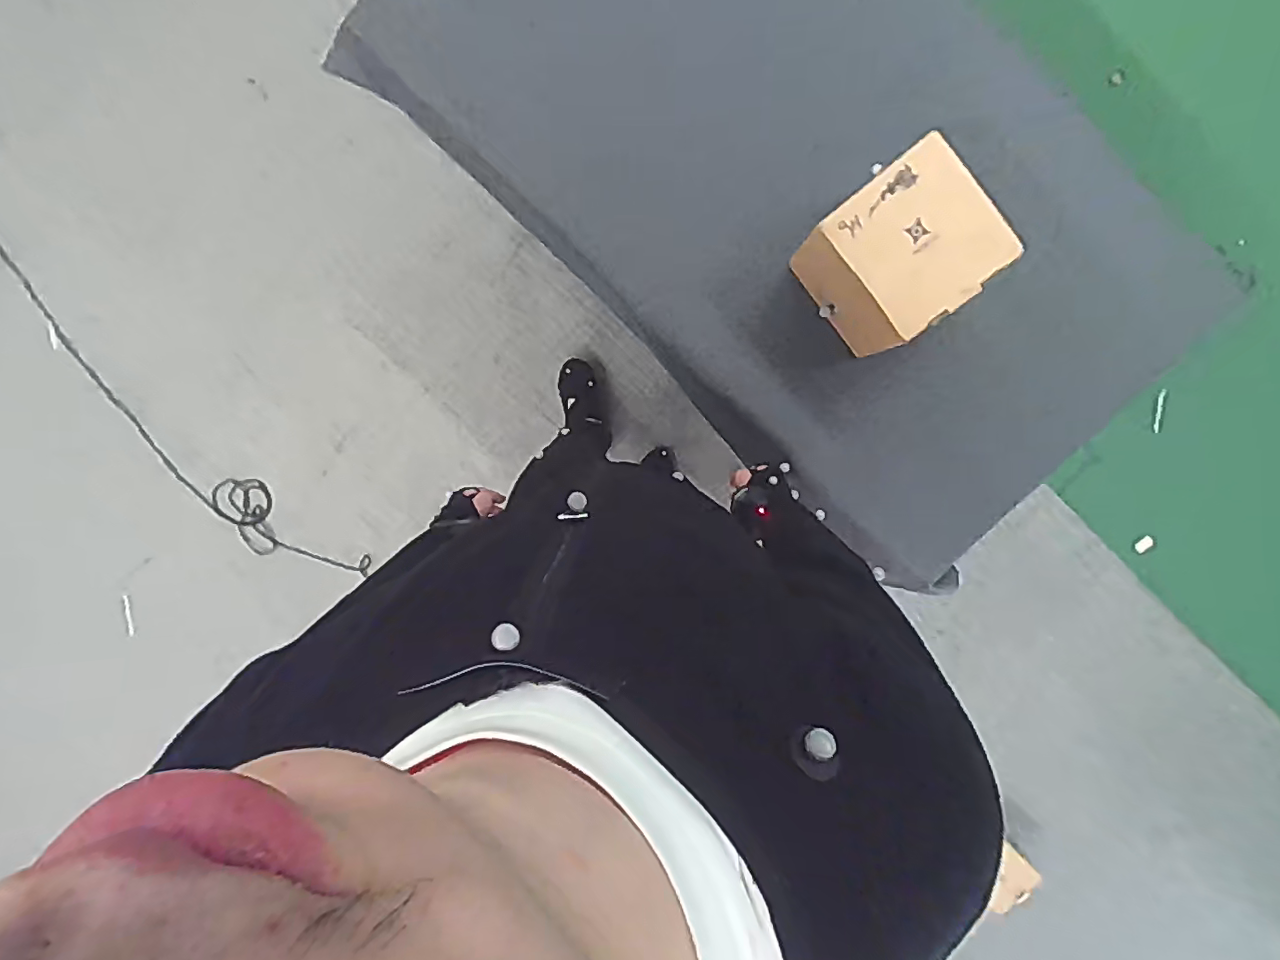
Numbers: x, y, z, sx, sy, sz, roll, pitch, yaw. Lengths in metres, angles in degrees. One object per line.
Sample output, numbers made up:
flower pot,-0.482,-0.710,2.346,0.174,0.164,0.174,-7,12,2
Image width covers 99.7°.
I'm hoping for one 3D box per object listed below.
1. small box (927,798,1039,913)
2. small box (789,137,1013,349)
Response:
small box,0.982,1.075,1.562,0.168,0.176,0.179,-44,93,5
small box,0.325,-0.289,0.710,0.168,0.176,0.179,-38,94,7
